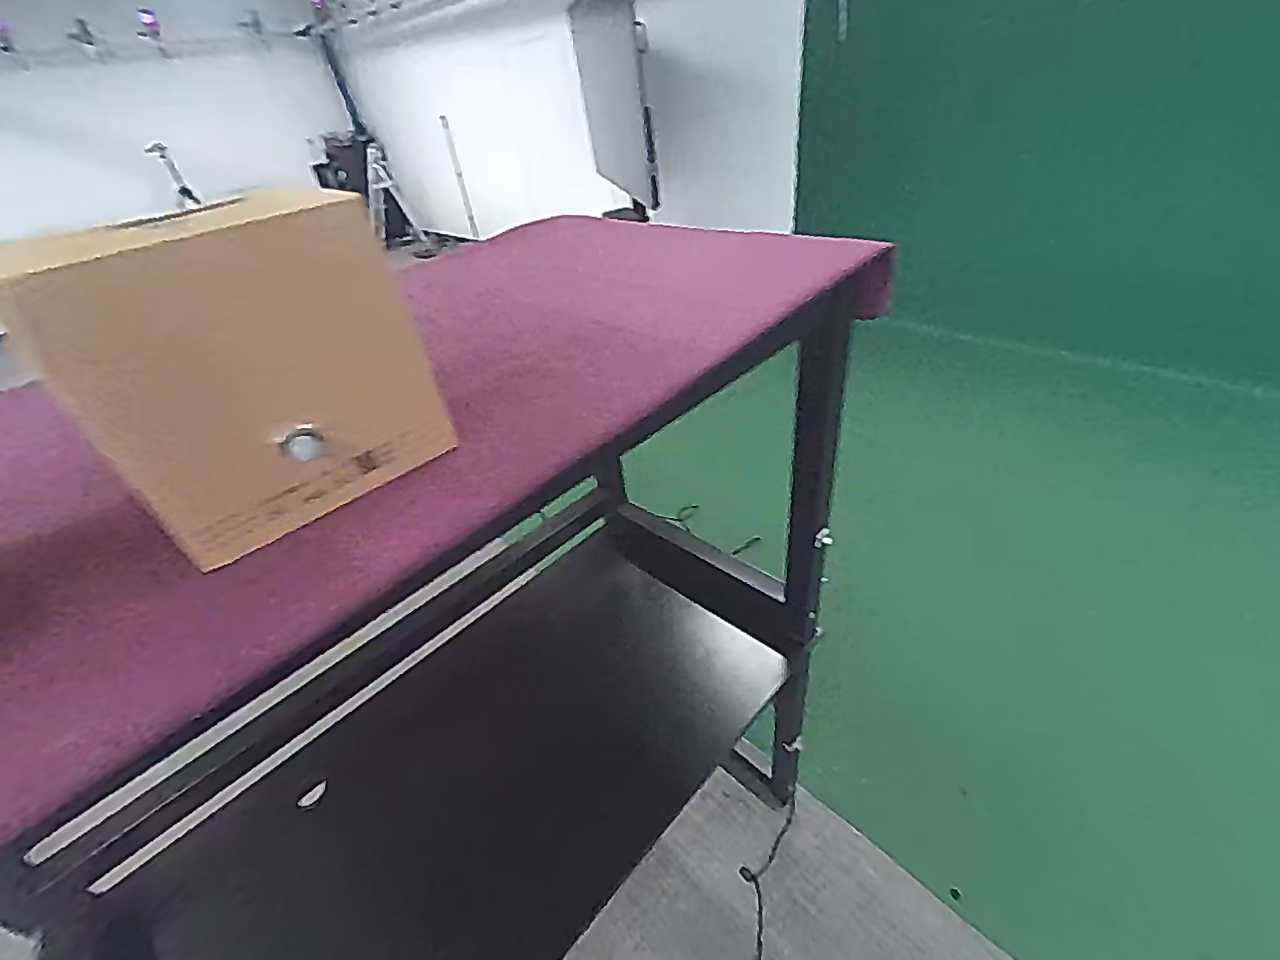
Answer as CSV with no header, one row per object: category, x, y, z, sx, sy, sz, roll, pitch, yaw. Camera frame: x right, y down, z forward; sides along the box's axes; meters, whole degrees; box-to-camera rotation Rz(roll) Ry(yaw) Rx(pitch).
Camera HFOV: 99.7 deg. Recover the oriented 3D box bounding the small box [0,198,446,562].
small box,-0.261,-0.076,0.360,0.168,0.176,0.179,-34,44,-29
